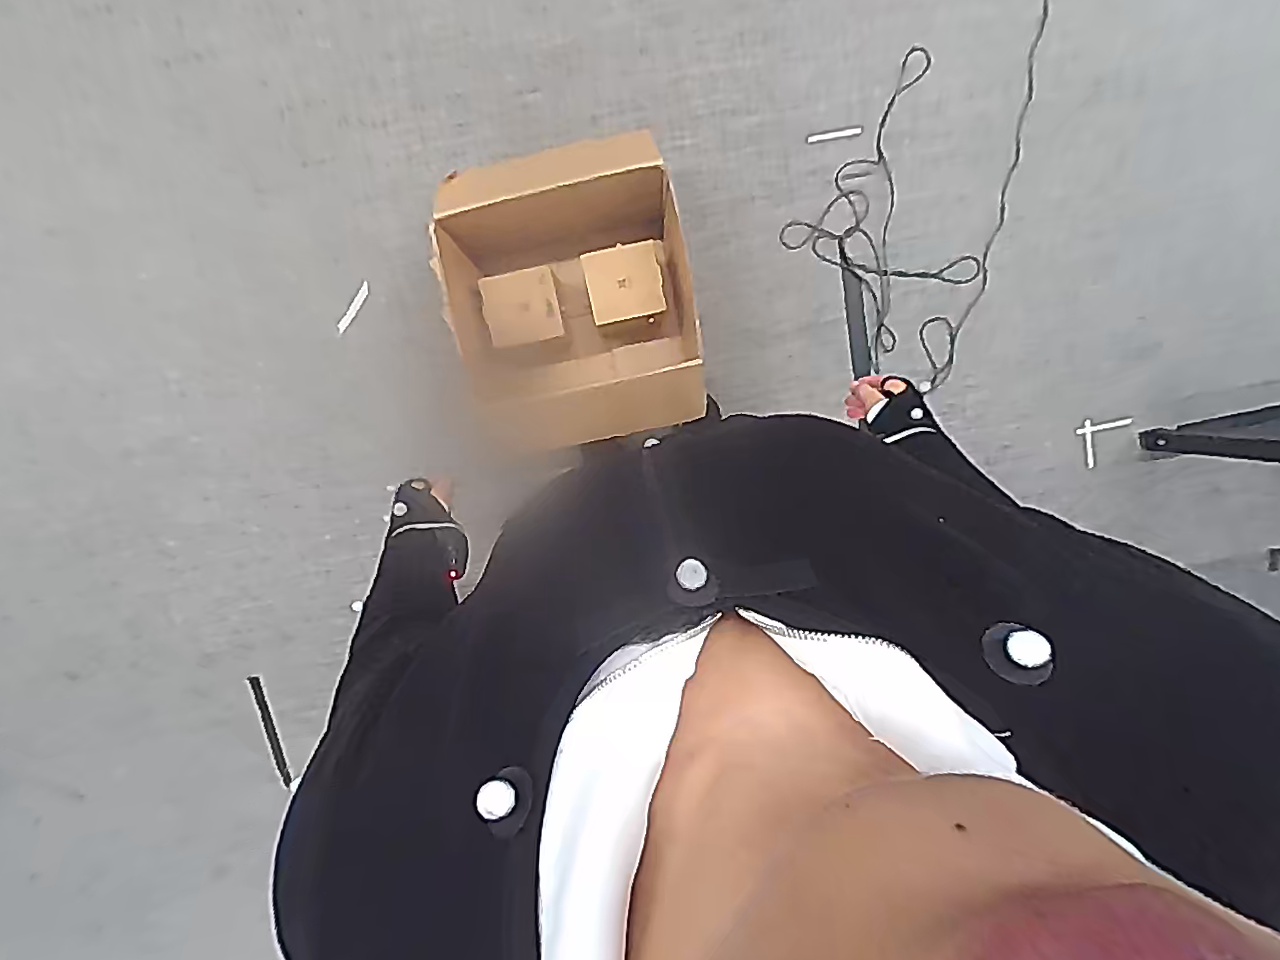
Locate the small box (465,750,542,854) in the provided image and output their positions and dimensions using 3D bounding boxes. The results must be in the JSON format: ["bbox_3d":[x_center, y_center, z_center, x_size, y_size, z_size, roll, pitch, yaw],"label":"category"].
[{"bbox_3d":[-0.371,0.887,1.501,0.168,0.176,0.179,-7,97,-2],"label":"small box"}]
